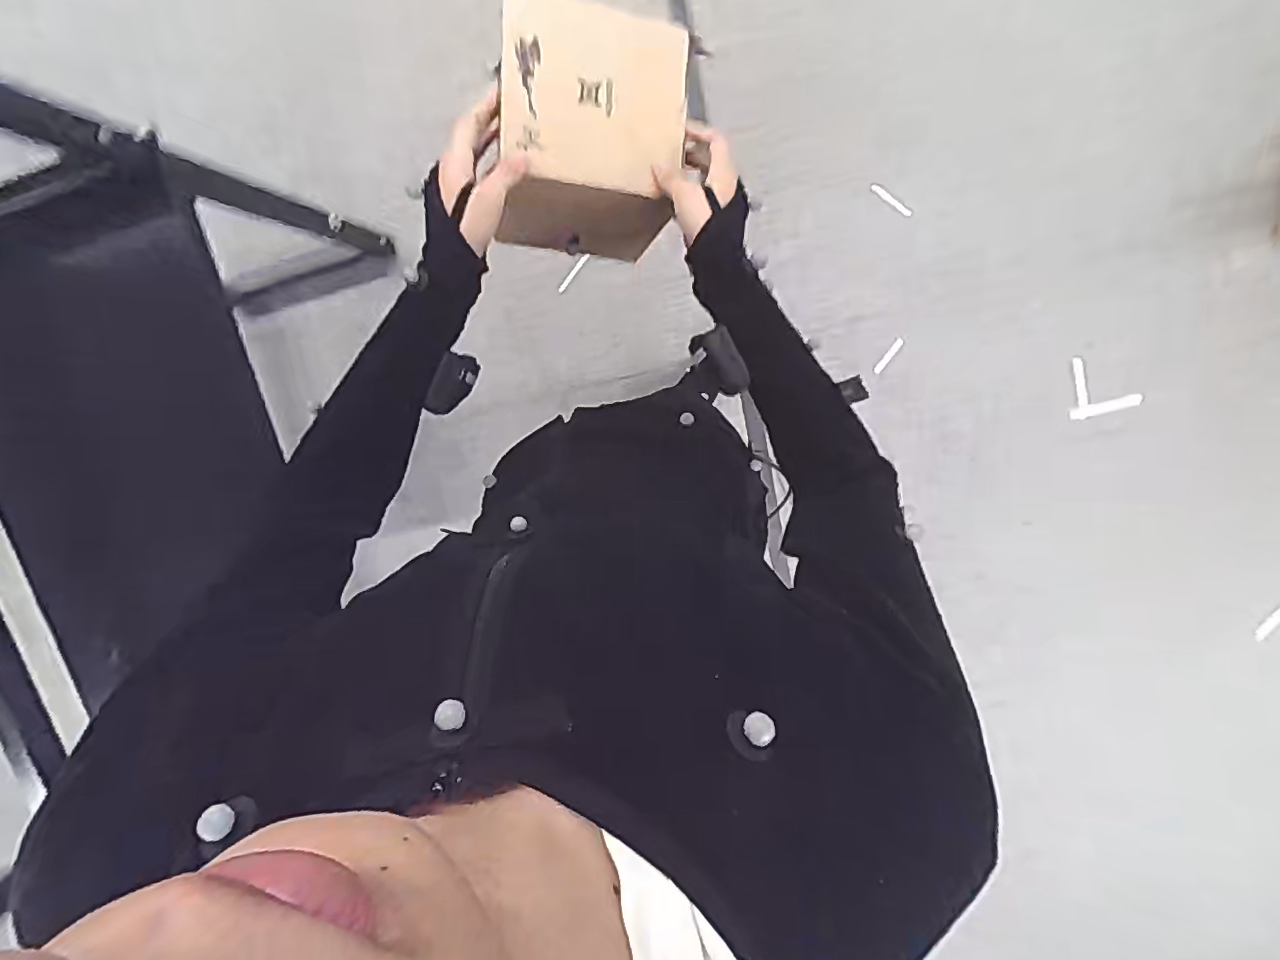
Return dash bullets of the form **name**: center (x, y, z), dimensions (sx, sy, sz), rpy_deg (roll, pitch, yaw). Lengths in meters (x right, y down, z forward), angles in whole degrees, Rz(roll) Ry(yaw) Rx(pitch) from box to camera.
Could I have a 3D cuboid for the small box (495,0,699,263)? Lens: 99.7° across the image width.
- **small box**: center (-0.054, -0.350, 0.577), dimensions (0.179, 0.176, 0.168), rpy_deg (3, 89, -18)
